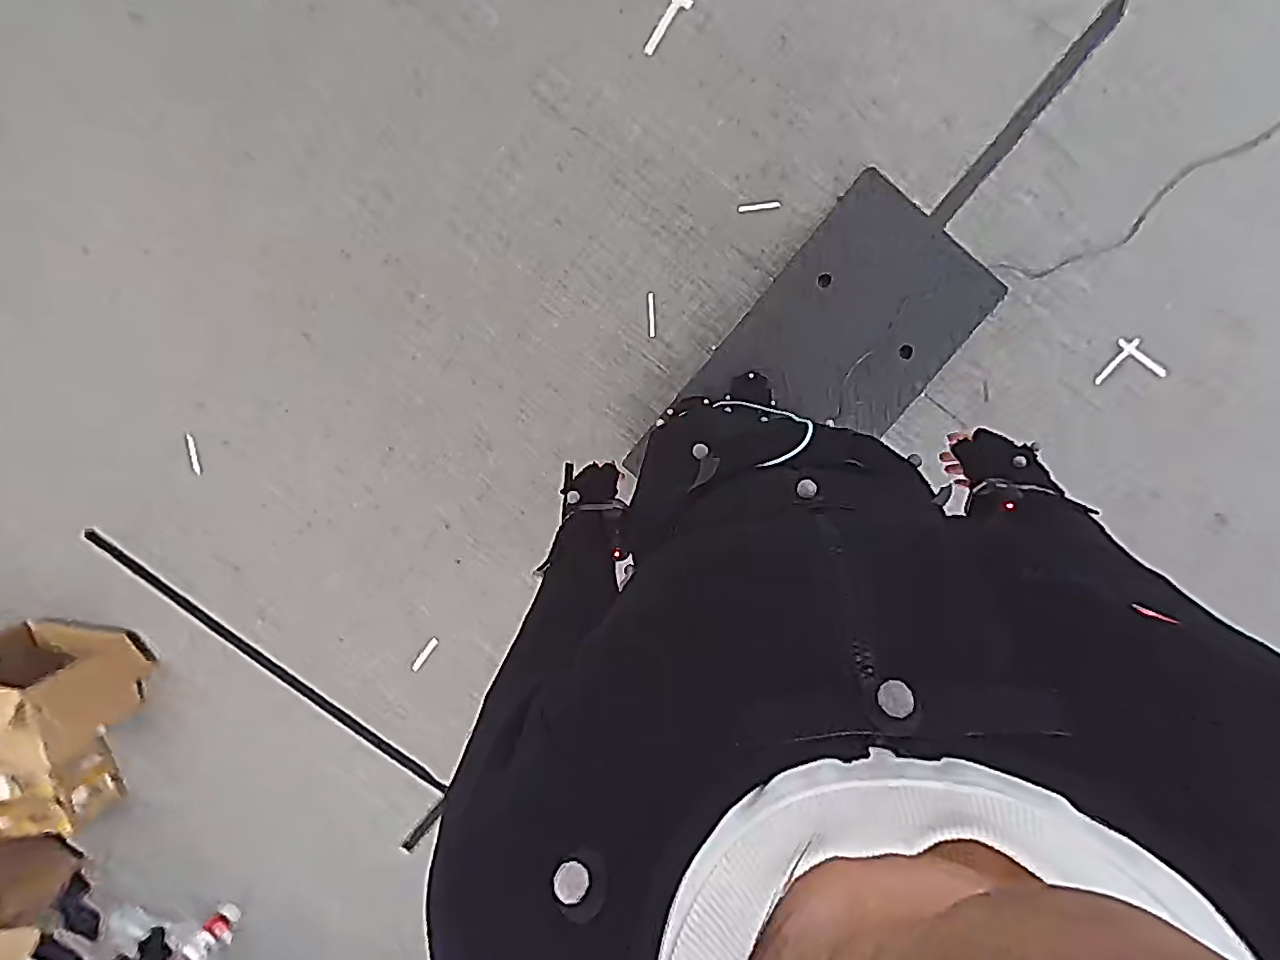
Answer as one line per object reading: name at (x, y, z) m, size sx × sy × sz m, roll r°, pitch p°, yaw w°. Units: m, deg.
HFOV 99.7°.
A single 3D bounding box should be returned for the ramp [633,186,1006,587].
ramp at (0.469, -0.244, 1.442) m, size 0.509 × 0.206 × 0.991 m, roll 37°, pitch 102°, yaw 0°
